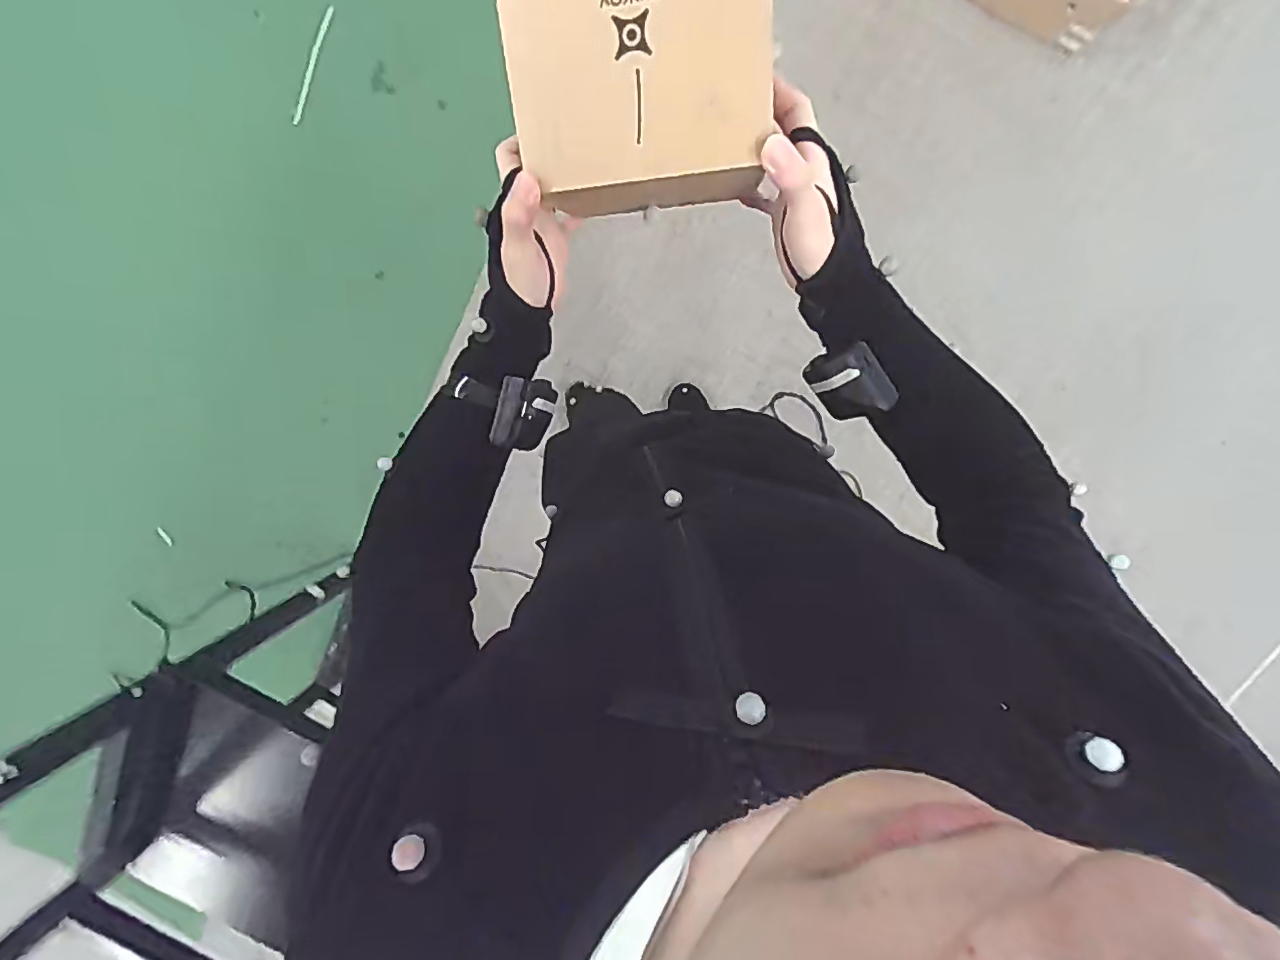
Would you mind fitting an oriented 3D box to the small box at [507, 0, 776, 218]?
[{"bbox_3d":[0.008,-0.305,0.403,0.168,0.176,0.179,-2,111,8],"label":"small box"}]
